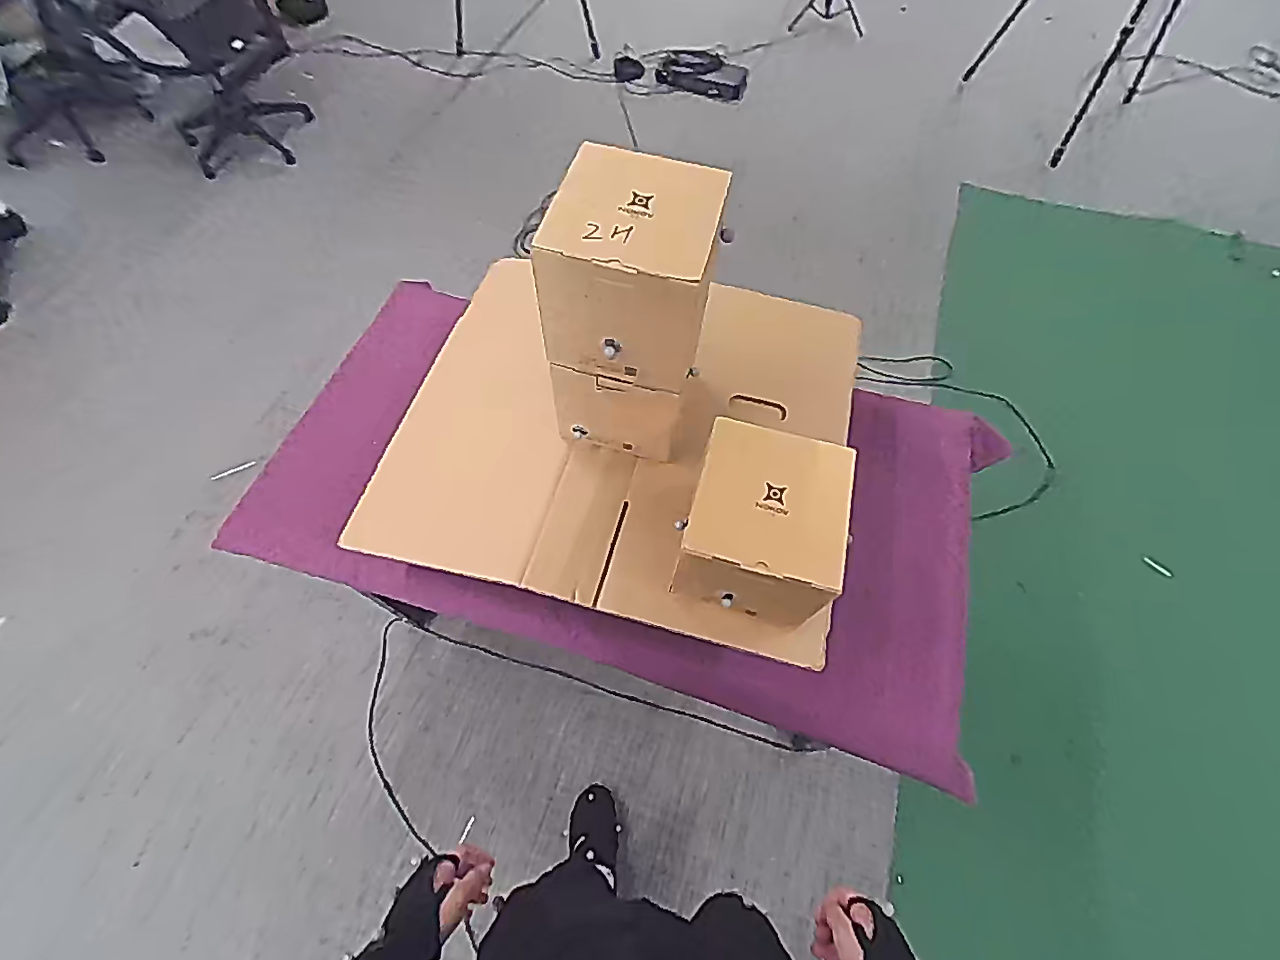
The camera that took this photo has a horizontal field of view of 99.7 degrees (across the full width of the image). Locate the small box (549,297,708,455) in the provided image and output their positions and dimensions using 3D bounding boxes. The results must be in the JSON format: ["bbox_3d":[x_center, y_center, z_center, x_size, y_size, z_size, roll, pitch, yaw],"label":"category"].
[{"bbox_3d":[-0.013,-0.158,0.748,0.168,0.176,0.179,15,62,4],"label":"small box"}]

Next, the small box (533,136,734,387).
[{"bbox_3d":[-0.005,-0.236,0.603,0.168,0.176,0.179,14,64,5],"label":"small box"}]

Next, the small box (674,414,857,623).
[{"bbox_3d":[0.142,0.053,0.650,0.168,0.176,0.179,14,64,5],"label":"small box"}]
